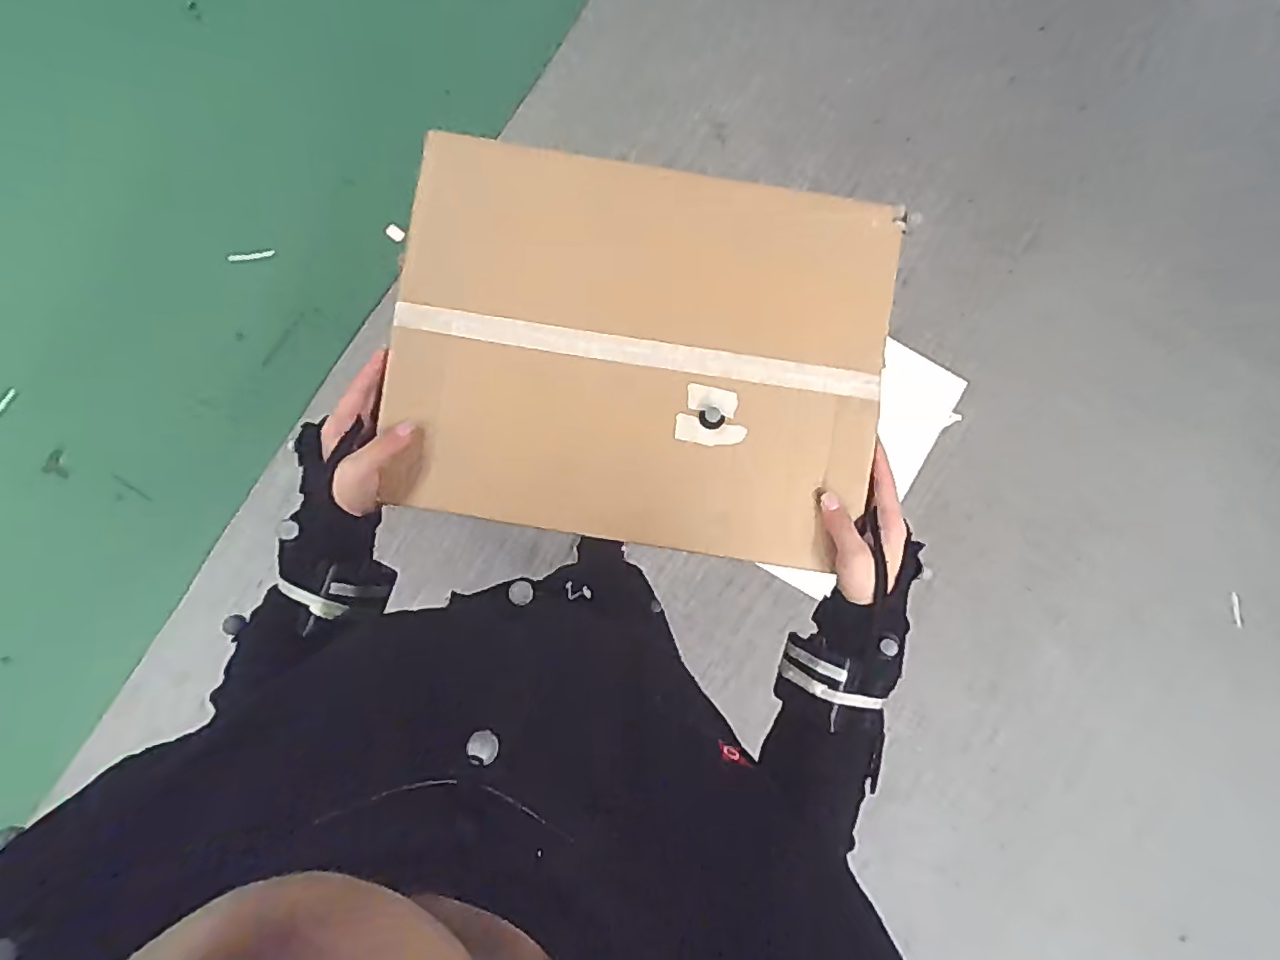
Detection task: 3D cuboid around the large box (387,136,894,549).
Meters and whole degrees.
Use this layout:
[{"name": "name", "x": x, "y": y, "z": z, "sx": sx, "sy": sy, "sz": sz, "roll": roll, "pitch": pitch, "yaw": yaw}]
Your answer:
[{"name": "large box", "x": -0.002, "y": -0.112, "z": 0.602, "sx": 0.408, "sy": 0.320, "sz": 0.320, "roll": 8, "pitch": 90, "yaw": -1}]
